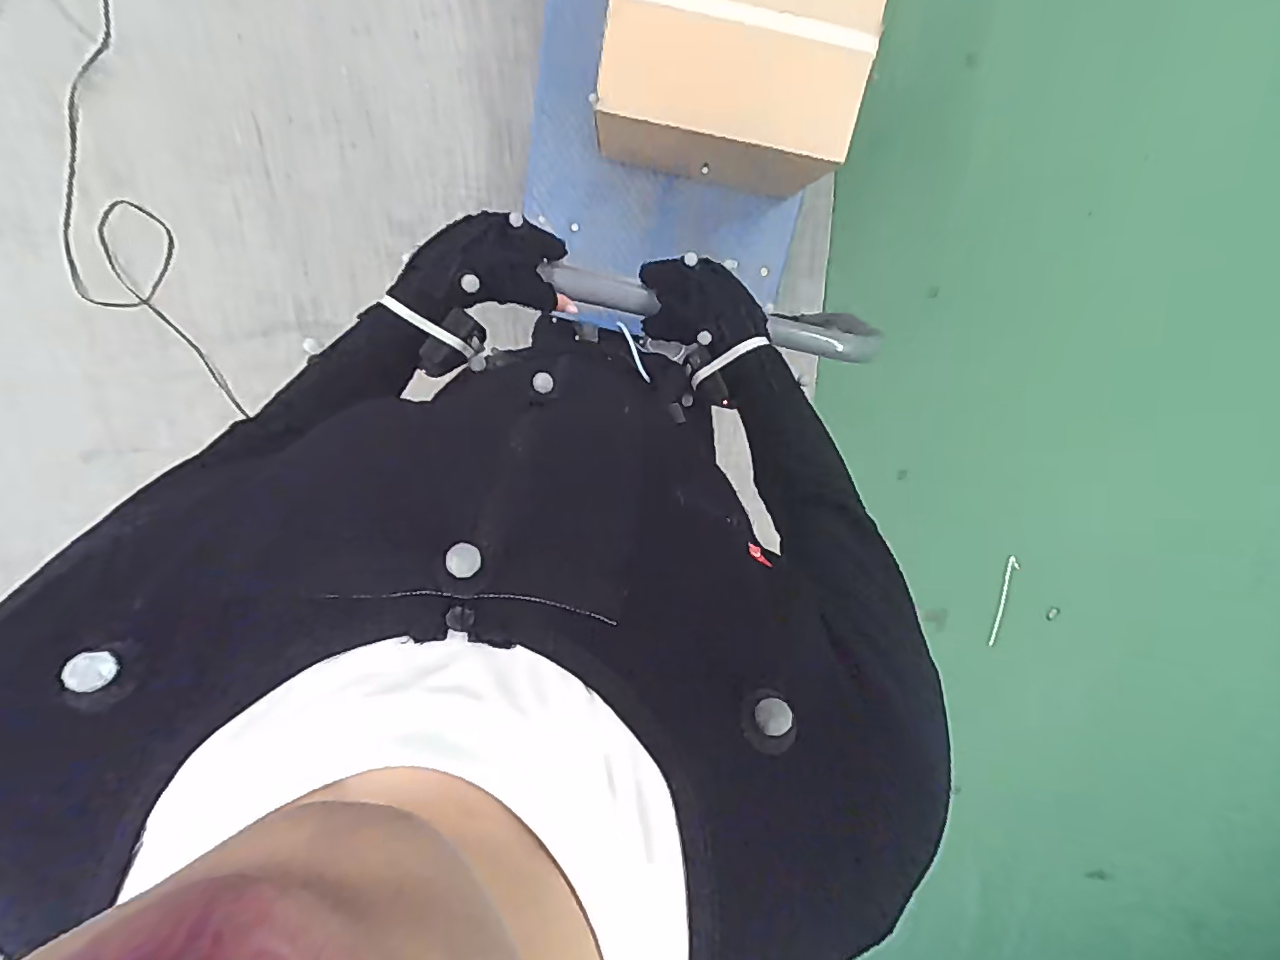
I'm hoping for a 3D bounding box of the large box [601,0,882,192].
[{"bbox_3d":[0.156,-0.732,0.956,0.408,0.320,0.320,9,107,-4],"label":"large box"}]
